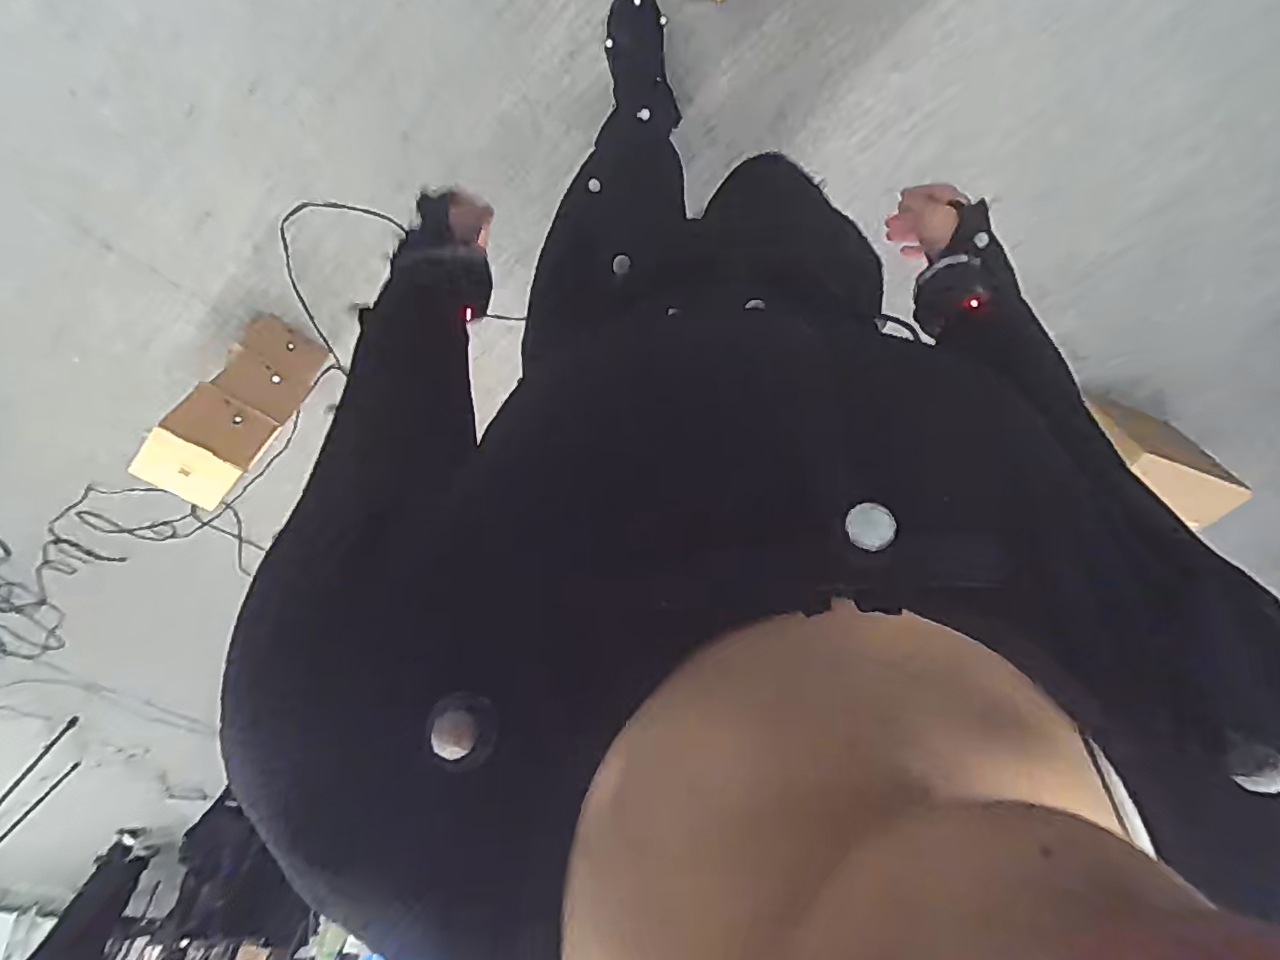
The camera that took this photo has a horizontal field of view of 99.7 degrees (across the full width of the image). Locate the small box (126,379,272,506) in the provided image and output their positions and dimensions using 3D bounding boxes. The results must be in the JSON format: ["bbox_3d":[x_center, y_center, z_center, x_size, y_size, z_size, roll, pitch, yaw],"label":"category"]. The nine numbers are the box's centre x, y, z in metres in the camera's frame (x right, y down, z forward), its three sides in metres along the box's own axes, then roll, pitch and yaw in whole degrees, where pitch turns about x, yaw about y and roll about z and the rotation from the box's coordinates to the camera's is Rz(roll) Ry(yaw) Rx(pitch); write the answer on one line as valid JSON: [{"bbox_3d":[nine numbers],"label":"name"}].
[{"bbox_3d":[-0.947,-0.082,1.176,0.179,0.176,0.168,-36,123,27],"label":"small box"}]

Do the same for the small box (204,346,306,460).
[{"bbox_3d":[-0.948,-0.185,1.302,0.179,0.176,0.168,-35,124,26],"label":"small box"}]

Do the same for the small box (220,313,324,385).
[{"bbox_3d":[-0.965,-0.303,1.416,0.168,0.176,0.179,35,123,-28],"label":"small box"}]
